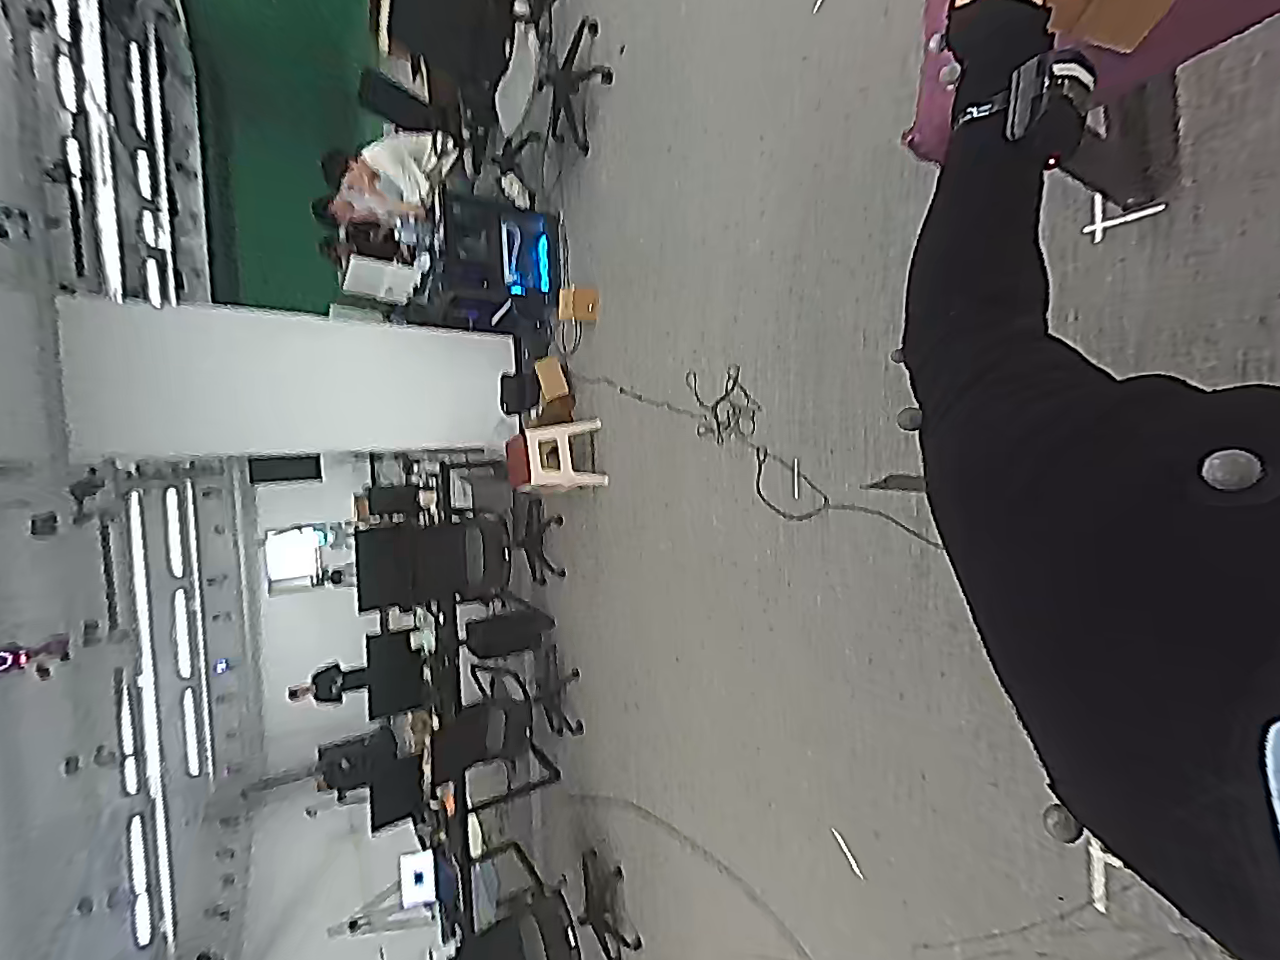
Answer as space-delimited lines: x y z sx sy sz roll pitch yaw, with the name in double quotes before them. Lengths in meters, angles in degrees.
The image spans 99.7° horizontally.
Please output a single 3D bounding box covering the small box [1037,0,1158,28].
"small box" 0.392 -0.516 0.446 0.168 0.176 0.179 54 148 22
